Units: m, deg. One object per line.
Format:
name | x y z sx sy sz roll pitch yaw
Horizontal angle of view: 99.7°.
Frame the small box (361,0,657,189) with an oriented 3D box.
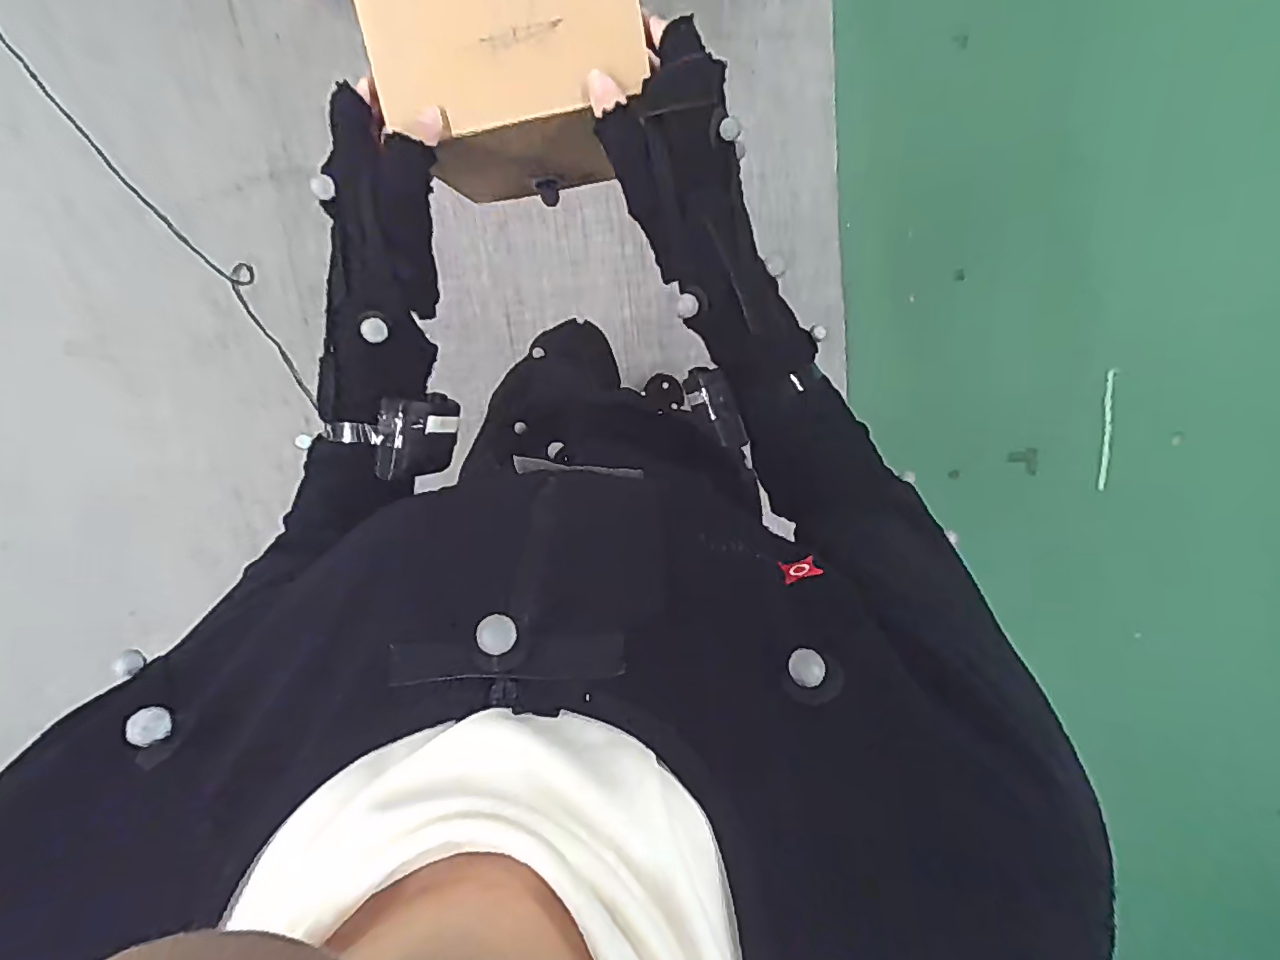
small box | -0.081 -0.331 0.379 0.168 0.176 0.179 -9 106 6
